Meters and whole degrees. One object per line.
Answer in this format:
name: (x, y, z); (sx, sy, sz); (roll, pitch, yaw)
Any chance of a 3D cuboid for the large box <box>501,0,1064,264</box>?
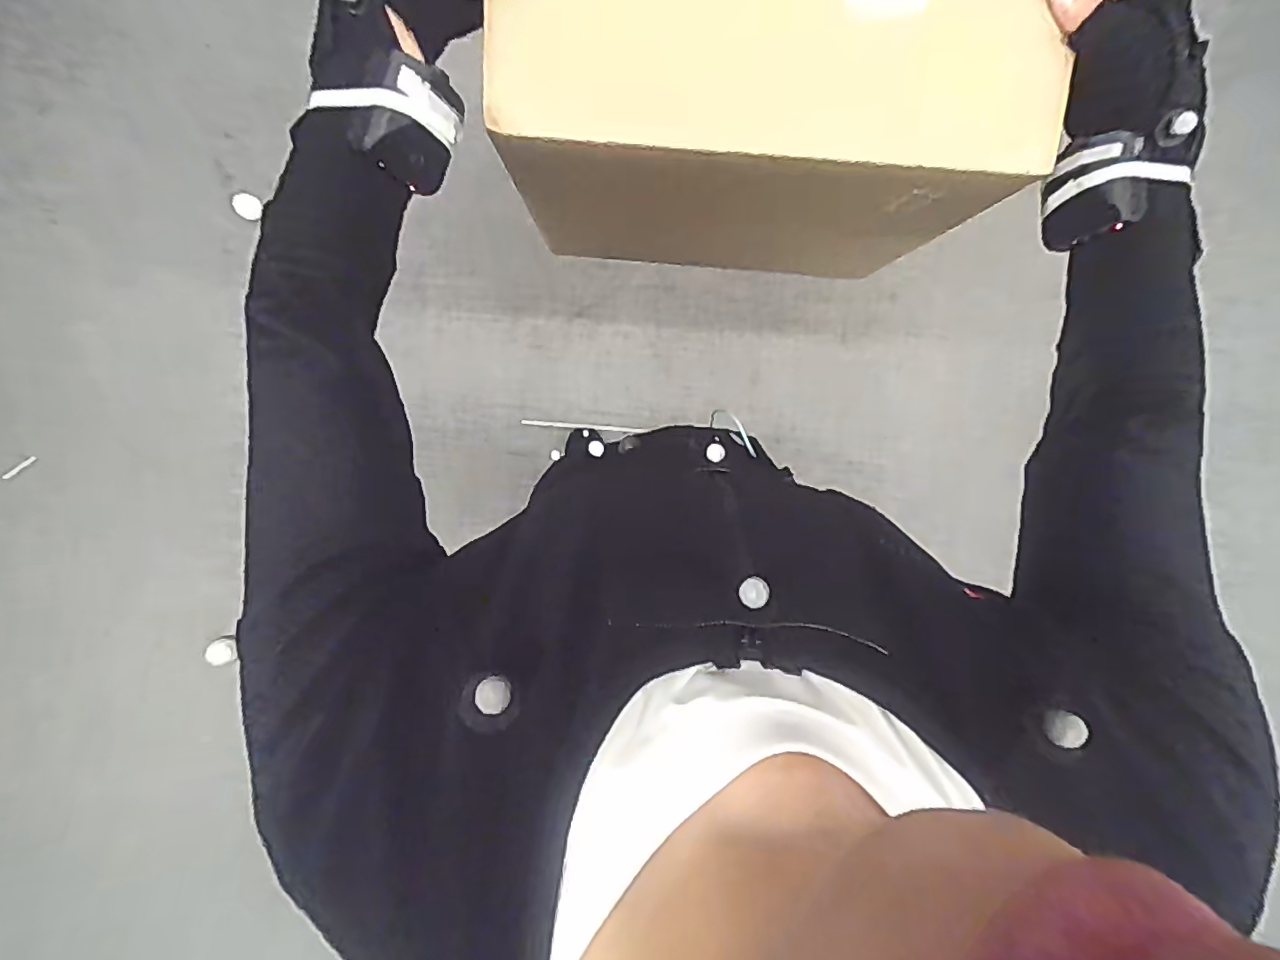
large box: (0.099, -0.414, 0.519); (0.408, 0.320, 0.320); (3, 98, -2)
